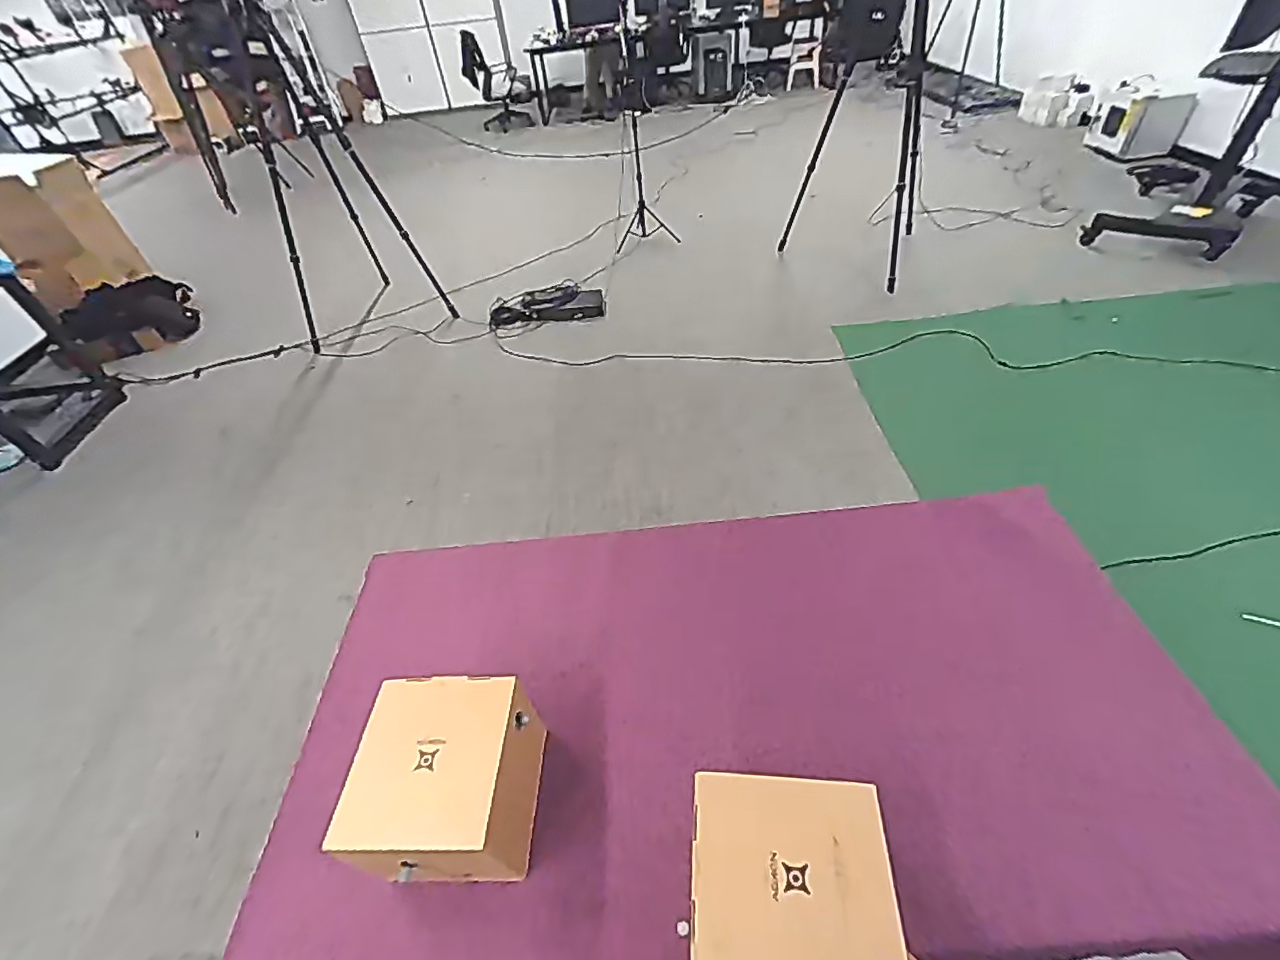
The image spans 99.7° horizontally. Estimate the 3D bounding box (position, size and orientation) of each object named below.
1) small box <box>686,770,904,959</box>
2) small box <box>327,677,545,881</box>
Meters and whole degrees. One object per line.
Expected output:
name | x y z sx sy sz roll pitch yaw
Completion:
small box | 0.140 0.407 0.533 0.179 0.176 0.168 0 45 9
small box | -0.219 0.356 0.641 0.168 0.176 0.179 -4 44 5
